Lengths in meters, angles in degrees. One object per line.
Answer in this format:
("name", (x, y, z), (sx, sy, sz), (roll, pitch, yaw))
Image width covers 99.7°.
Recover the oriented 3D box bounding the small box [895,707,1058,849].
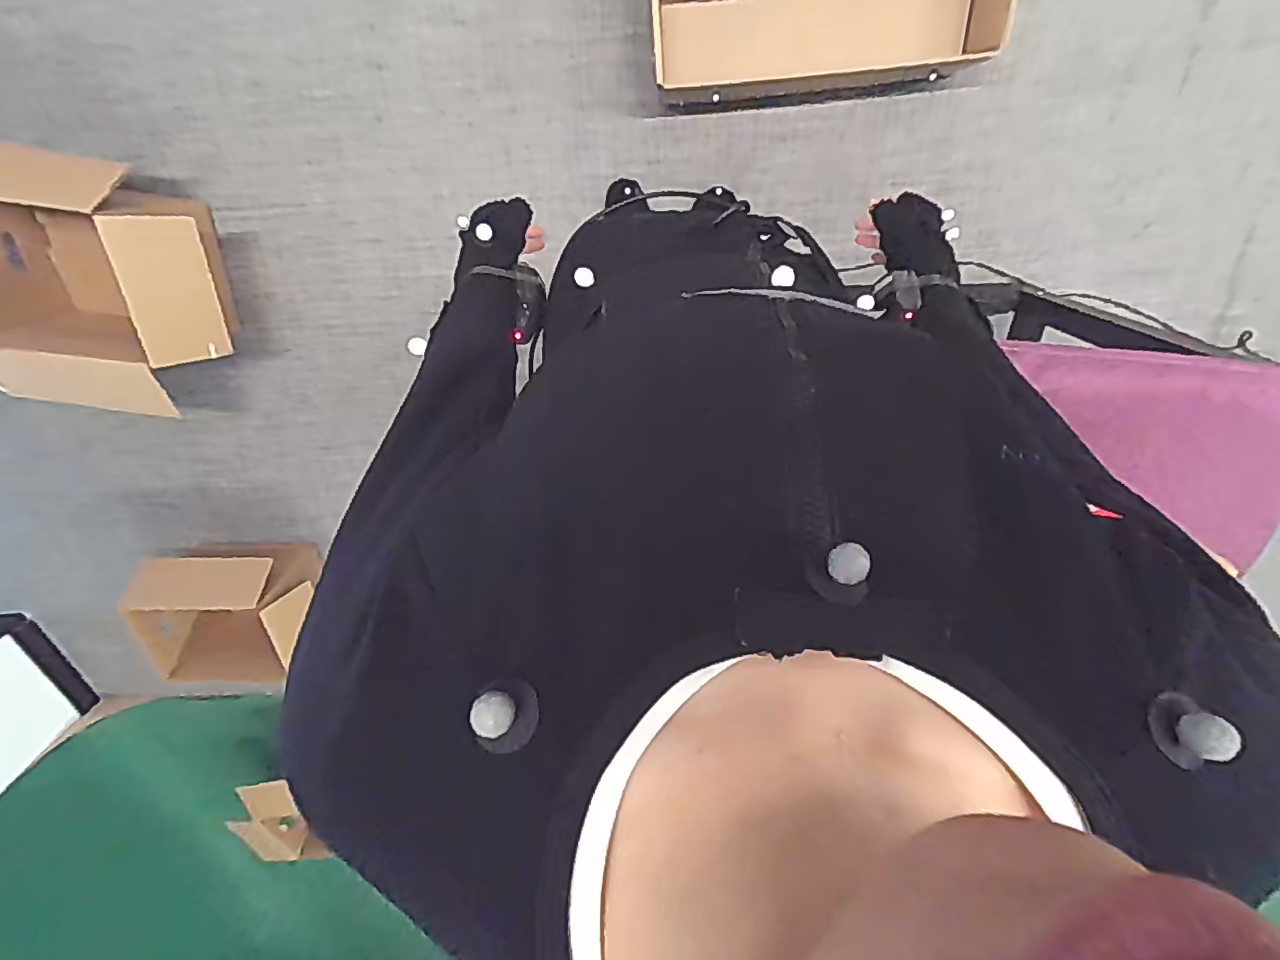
("small box", (0.581, 0.528, 0.965), (0.179, 0.176, 0.168), (-3, 119, 3))
